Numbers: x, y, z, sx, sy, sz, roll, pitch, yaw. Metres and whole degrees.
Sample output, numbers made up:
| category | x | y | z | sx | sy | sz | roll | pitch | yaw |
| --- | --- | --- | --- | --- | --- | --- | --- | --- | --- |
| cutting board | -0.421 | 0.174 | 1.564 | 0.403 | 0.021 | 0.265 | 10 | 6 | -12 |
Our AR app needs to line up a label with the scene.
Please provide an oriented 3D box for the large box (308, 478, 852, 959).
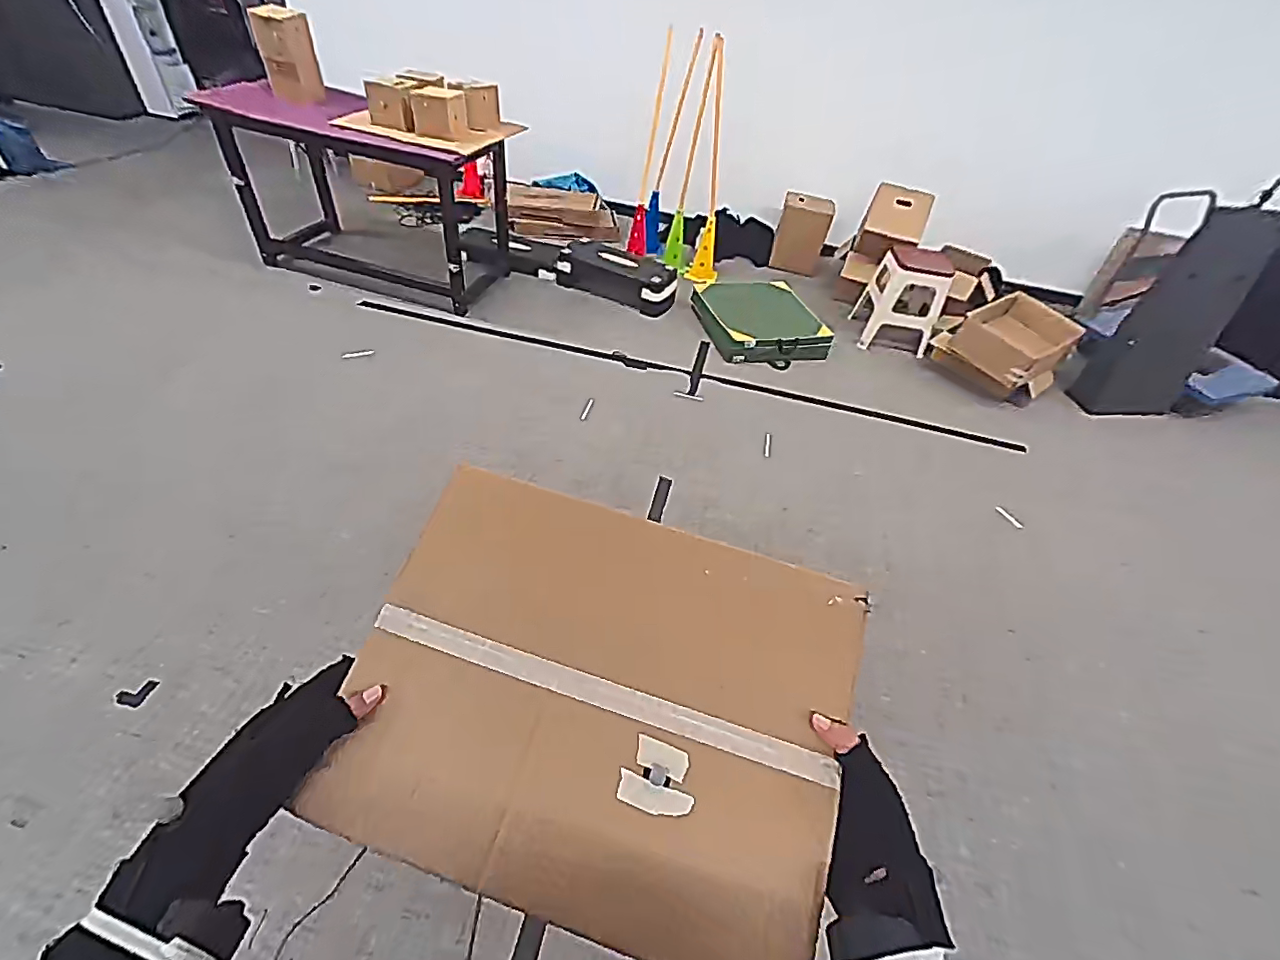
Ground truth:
| category | x | y | z | sx | sy | sz | roll | pitch | yaw |
| --- | --- | --- | --- | --- | --- | --- | --- | --- | --- |
| large box | -0.038 | 0.243 | 0.603 | 0.408 | 0.320 | 0.320 | 17 | 66 | 6 |
